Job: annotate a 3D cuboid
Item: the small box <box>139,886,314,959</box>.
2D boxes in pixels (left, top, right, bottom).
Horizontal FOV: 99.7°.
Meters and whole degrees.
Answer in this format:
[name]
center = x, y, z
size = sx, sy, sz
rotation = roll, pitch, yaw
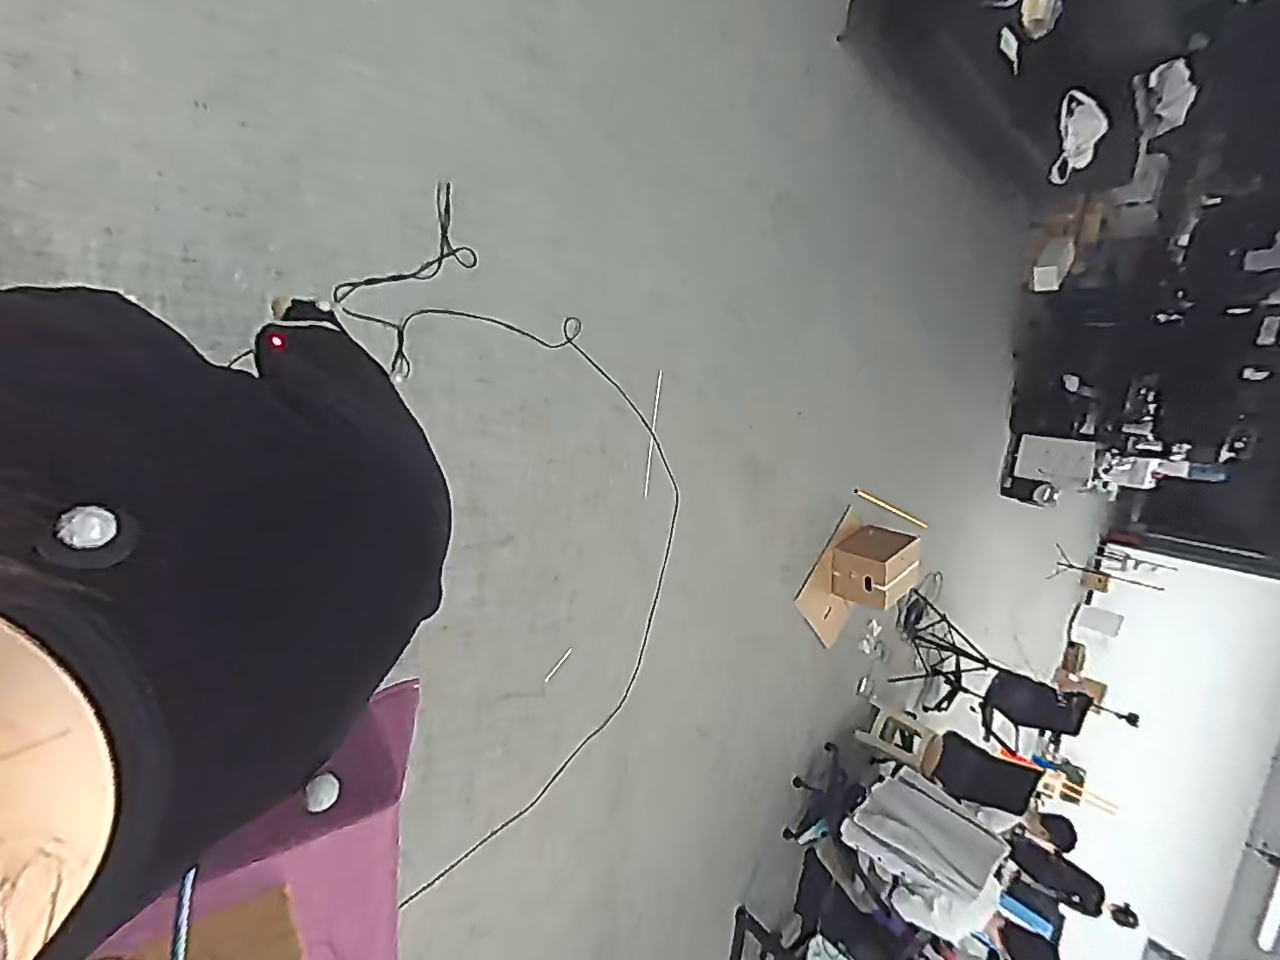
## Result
[small box]
center = -0.517, 0.673, 0.680
size = 0.179, 0.176, 0.168
rotation = -3, 104, -40
